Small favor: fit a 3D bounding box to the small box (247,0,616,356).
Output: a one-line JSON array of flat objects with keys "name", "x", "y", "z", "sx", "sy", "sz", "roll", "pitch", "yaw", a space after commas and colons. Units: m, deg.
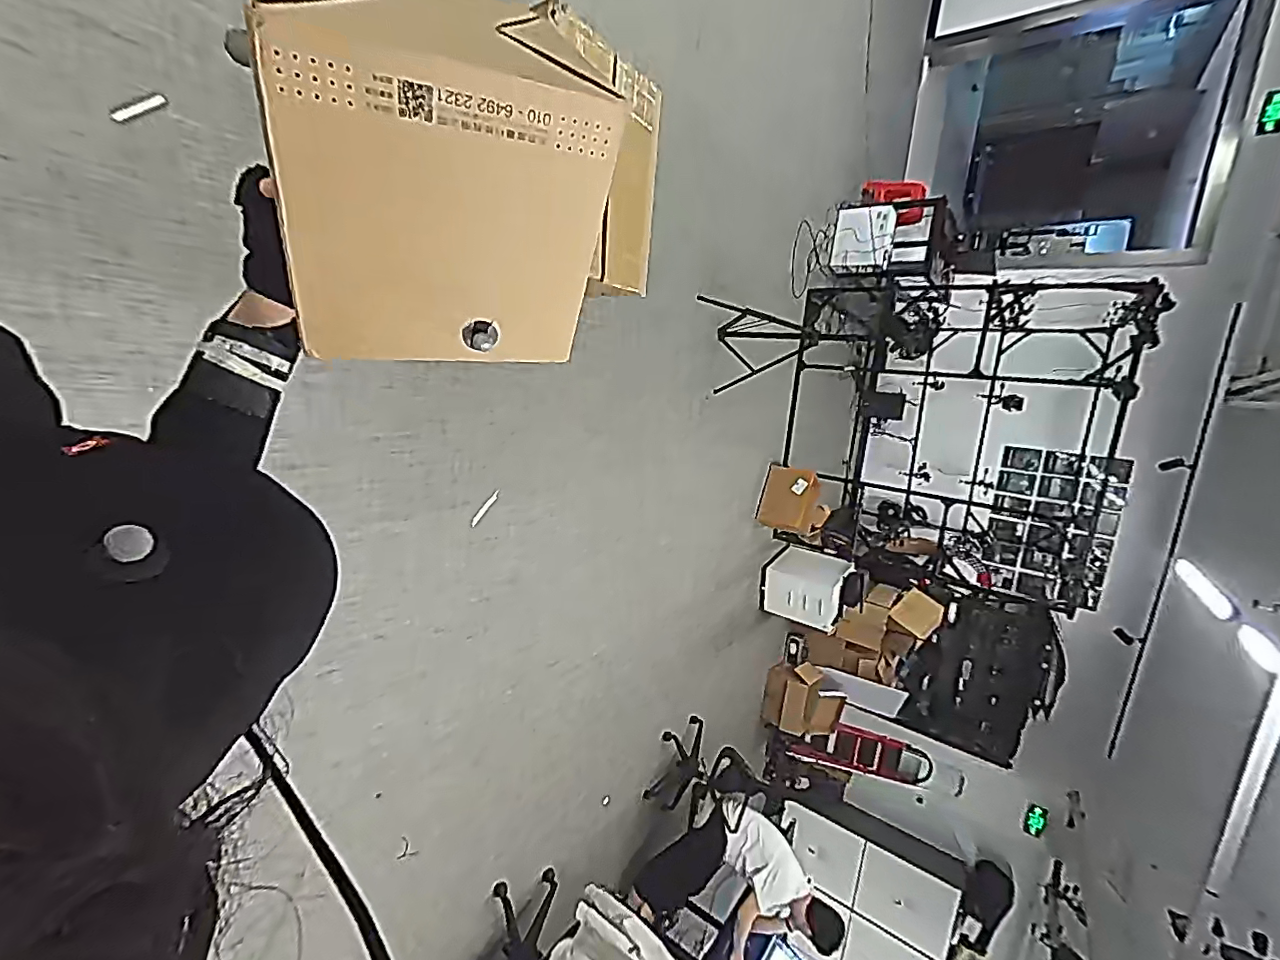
[{"name": "small box", "x": -0.130, "y": -0.201, "z": 0.339, "sx": 0.168, "sy": 0.179, "sz": 0.176, "roll": -5, "pitch": 141, "yaw": -27}]
